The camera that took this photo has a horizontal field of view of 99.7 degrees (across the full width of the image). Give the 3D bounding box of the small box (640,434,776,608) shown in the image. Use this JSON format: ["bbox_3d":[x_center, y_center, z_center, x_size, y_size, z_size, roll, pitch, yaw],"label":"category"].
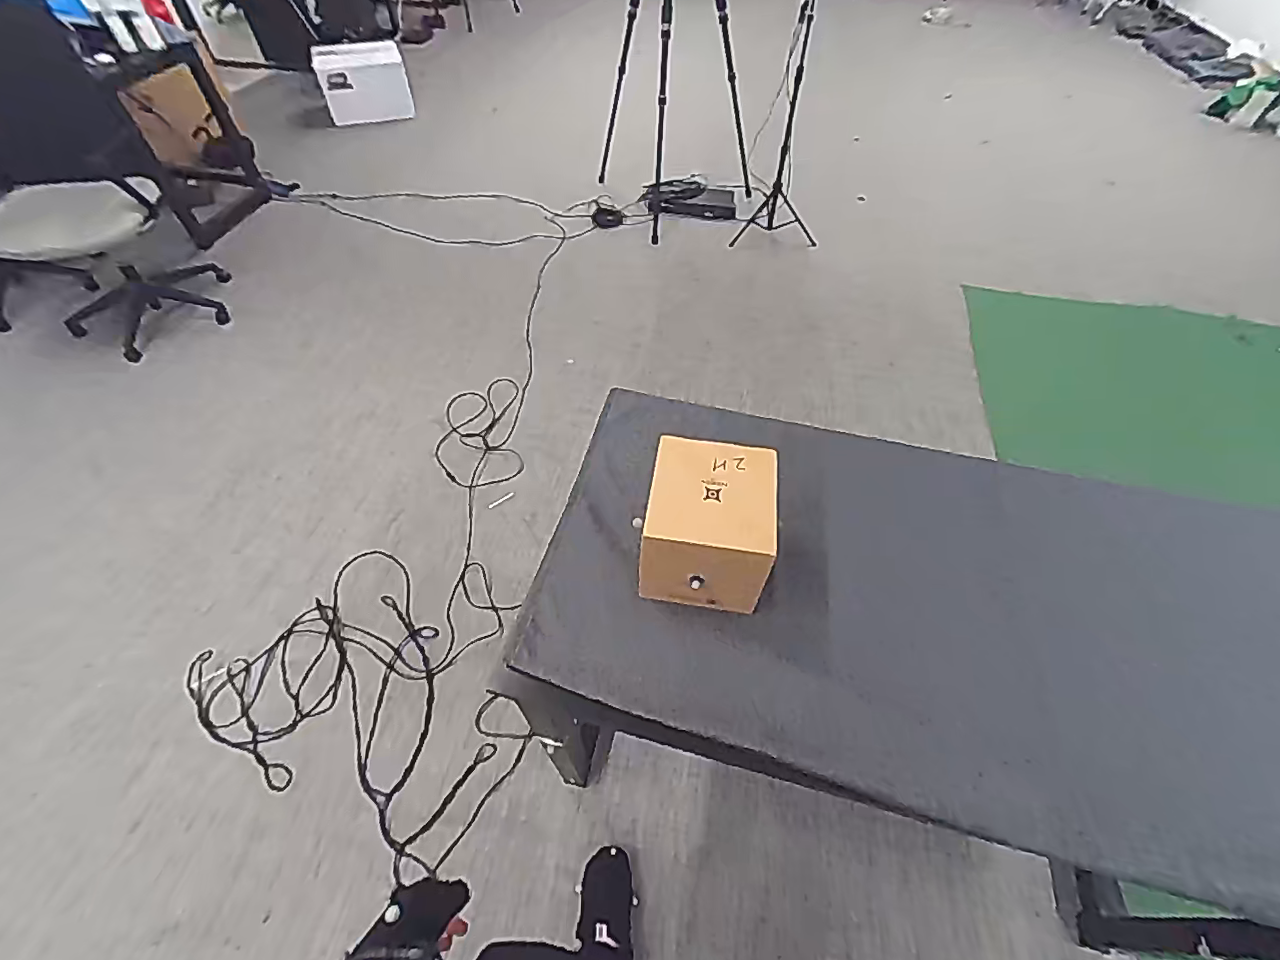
[{"bbox_3d":[0.093,0.063,0.770,0.168,0.176,0.179,8,51,4],"label":"small box"}]
